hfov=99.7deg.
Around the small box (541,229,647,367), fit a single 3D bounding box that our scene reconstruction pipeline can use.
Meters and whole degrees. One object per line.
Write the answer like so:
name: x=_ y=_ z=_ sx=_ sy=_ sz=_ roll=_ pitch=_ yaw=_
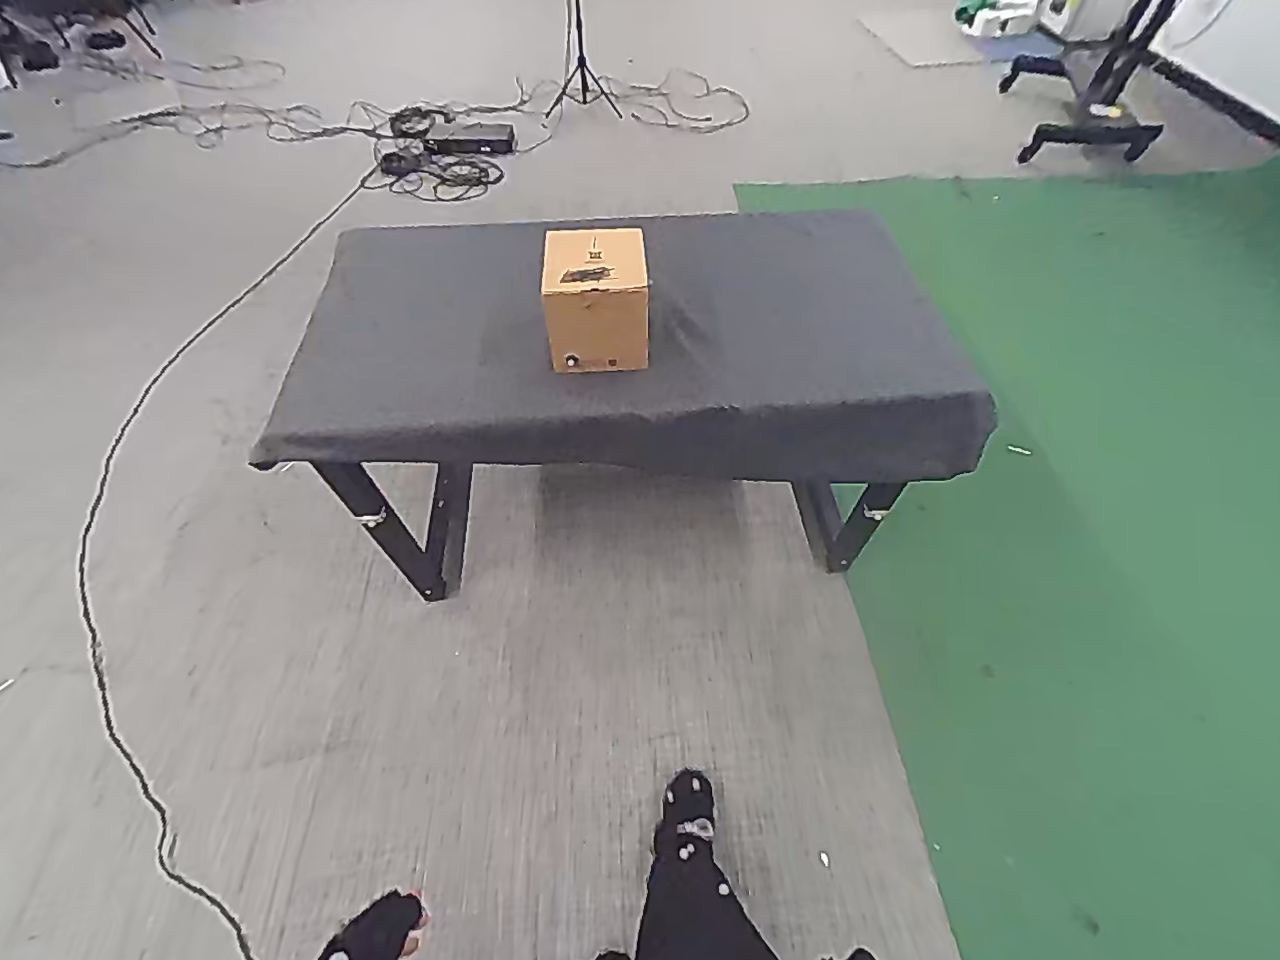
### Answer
small box: x=-0.074 y=-0.312 z=0.945 sx=0.168 sy=0.176 sz=0.179 roll=-2 pitch=54 yaw=-2
